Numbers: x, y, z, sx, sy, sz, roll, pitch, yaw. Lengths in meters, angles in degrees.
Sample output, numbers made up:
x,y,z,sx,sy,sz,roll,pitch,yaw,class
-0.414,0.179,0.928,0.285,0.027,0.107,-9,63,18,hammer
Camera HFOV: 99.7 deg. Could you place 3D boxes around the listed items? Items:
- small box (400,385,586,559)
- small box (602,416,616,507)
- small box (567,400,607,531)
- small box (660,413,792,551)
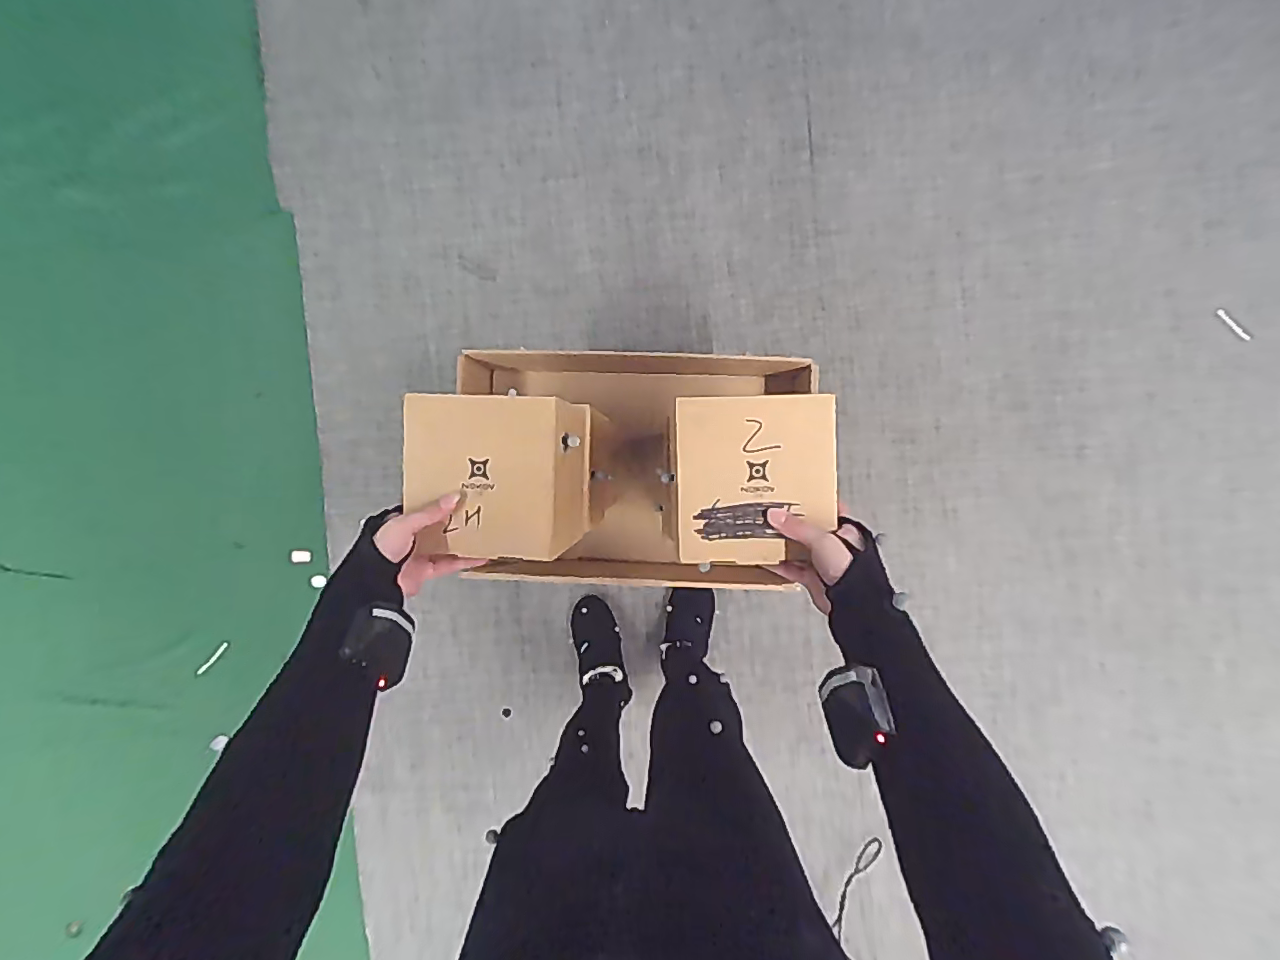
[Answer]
x,y,z,sx,sy,sz,roll,pitch,yaw,class
-0.161,-0.011,0.642,0.168,0.176,0.179,3,93,5,small box
-0.142,-0.031,0.969,0.179,0.176,0.168,3,92,2,small box
-0.143,-0.024,0.805,0.168,0.176,0.179,2,92,4,small box
0.116,0.000,0.790,0.168,0.176,0.179,3,91,1,small box
